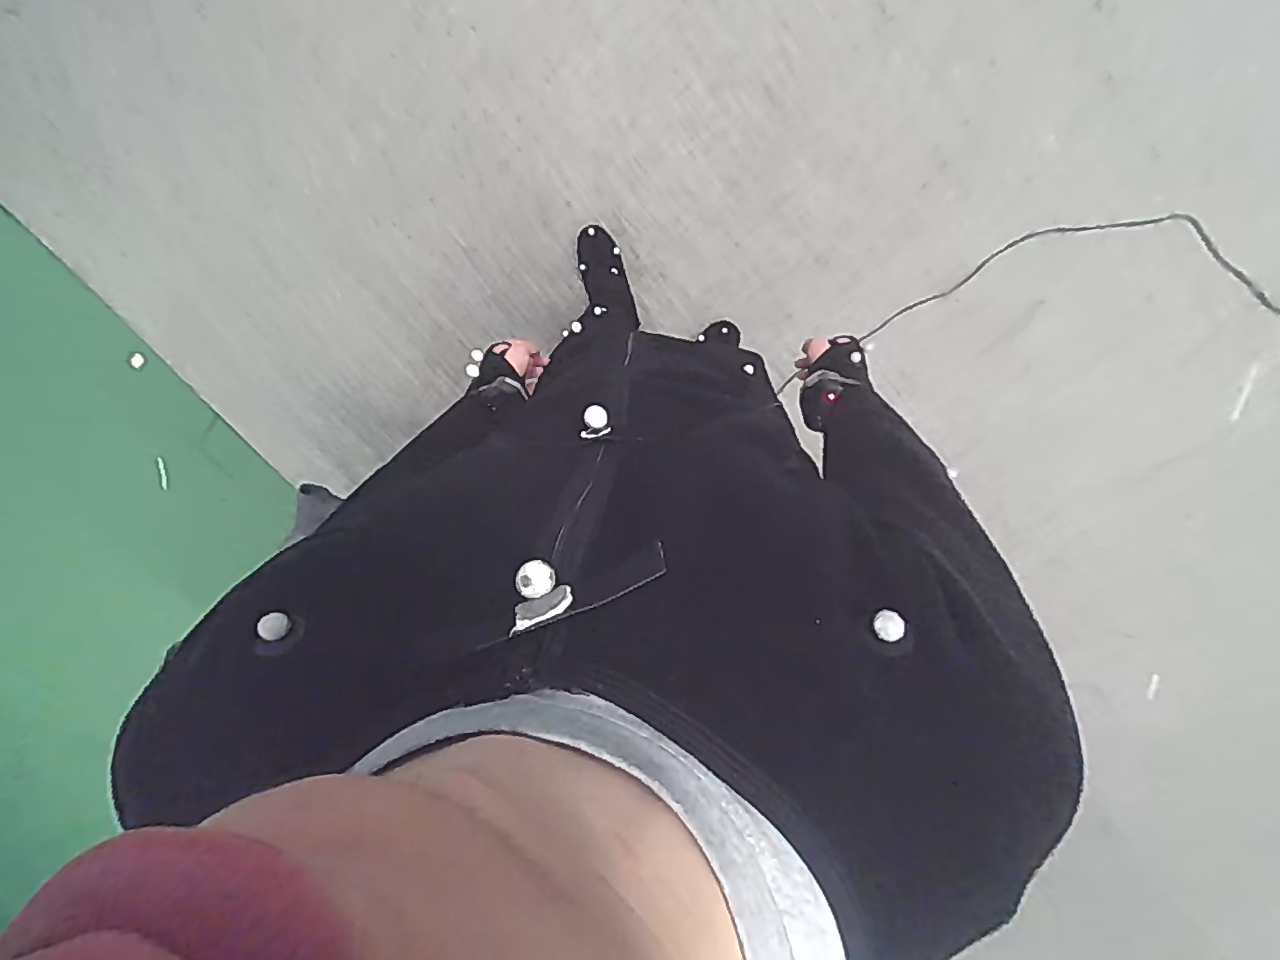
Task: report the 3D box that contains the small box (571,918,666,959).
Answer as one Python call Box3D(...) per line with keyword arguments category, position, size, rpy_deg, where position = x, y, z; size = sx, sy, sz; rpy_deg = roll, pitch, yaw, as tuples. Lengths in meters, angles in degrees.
Box3D(category="small box", position=(-0.052, 1.092, 1.156), size=(0.179, 0.176, 0.168), rpy_deg=(-40, 99, 19))
